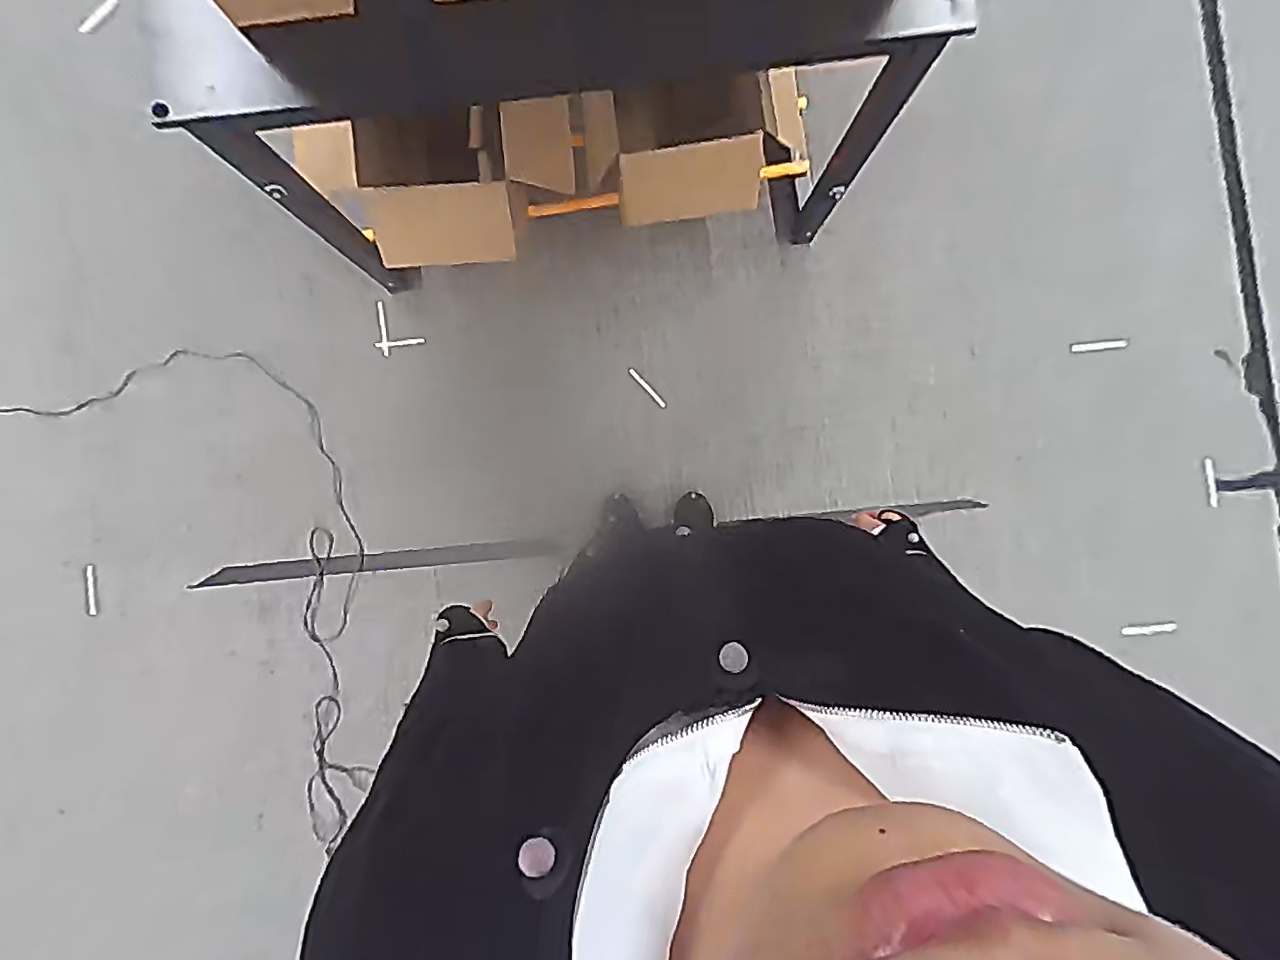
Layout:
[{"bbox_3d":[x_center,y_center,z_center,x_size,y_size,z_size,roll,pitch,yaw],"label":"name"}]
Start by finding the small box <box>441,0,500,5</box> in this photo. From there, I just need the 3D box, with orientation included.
[{"bbox_3d":[-0.230,-0.788,0.713,0.168,0.176,0.179,-6,89,0],"label":"small box"}]

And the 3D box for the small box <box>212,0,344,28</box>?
[{"bbox_3d":[-0.511,-0.746,0.708,0.179,0.176,0.168,-8,88,-1],"label":"small box"}]
